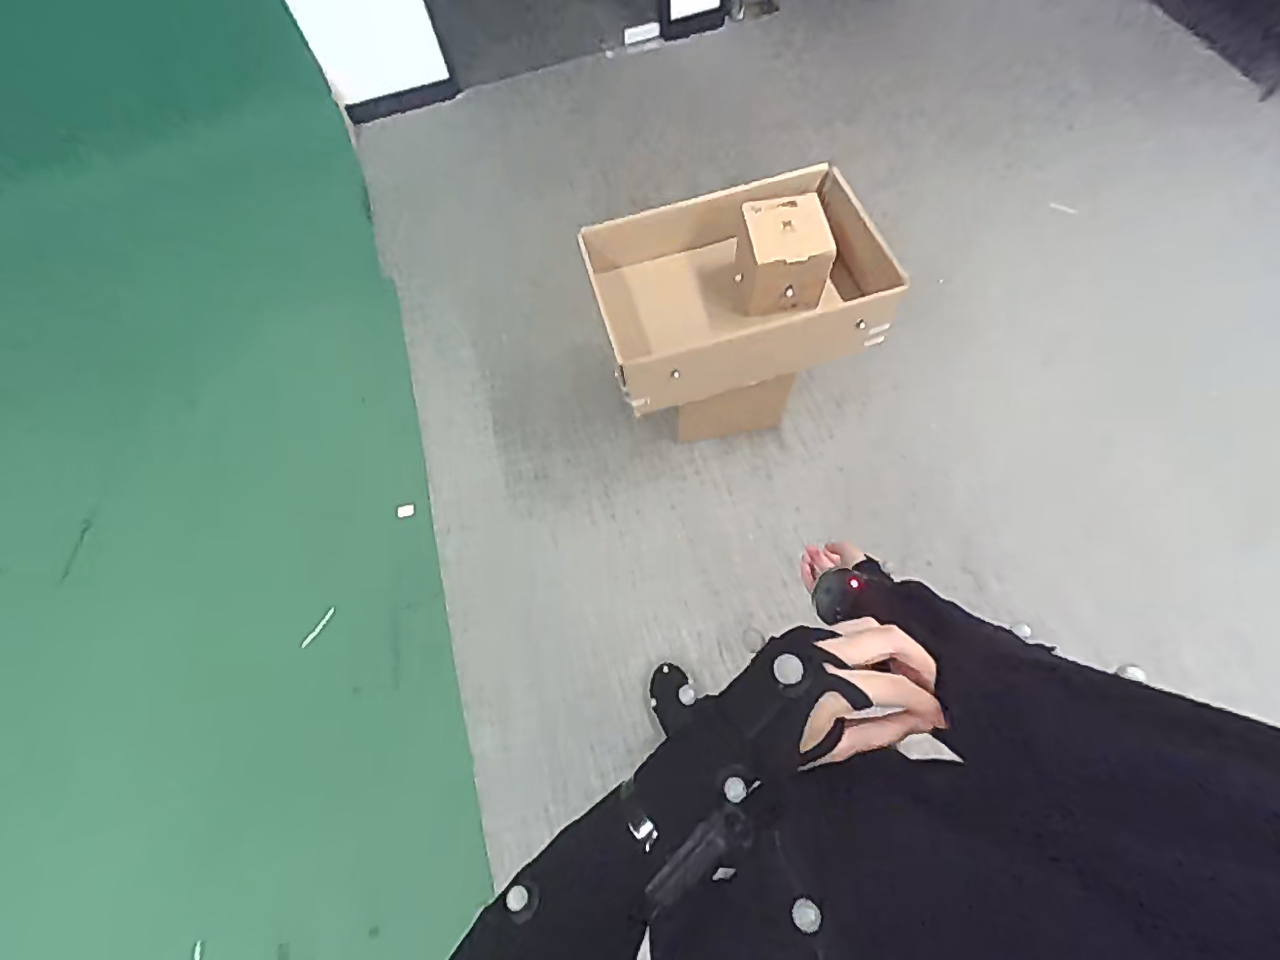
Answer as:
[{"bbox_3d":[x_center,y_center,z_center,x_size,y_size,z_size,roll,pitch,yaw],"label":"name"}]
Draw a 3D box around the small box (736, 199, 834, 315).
[{"bbox_3d":[0.314,-0.486,1.207,0.168,0.176,0.179,-7,67,1],"label":"small box"}]
